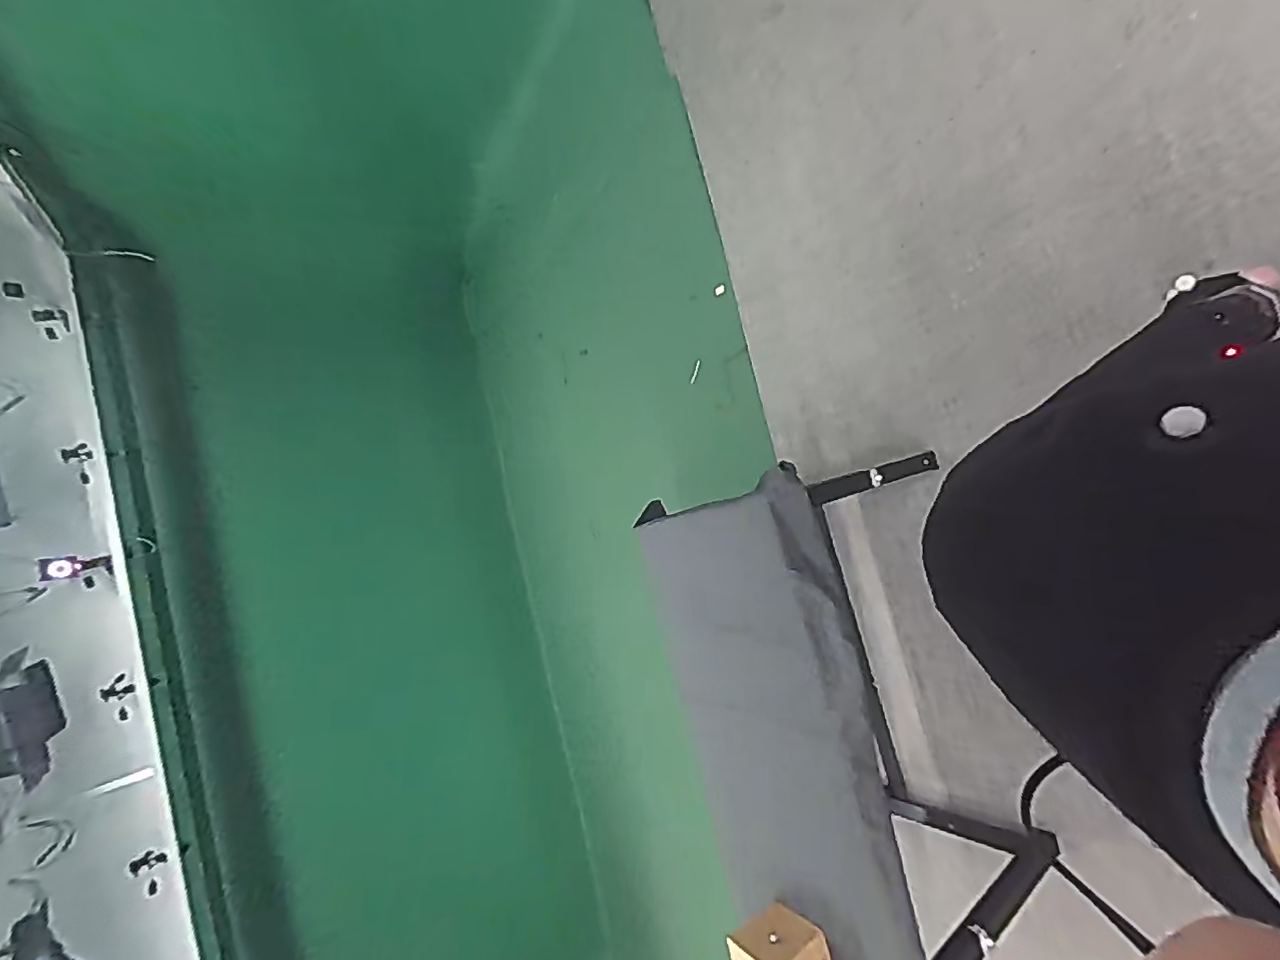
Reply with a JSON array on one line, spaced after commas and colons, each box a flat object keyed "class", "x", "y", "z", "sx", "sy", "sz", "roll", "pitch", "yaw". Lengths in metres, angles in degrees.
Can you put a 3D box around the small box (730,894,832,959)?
[{"class": "small box", "x": 0.356, "y": 1.174, "z": 1.330, "sx": 0.179, "sy": 0.176, "sz": 0.168, "roll": -22, "pitch": 81, "yaw": 56}]
